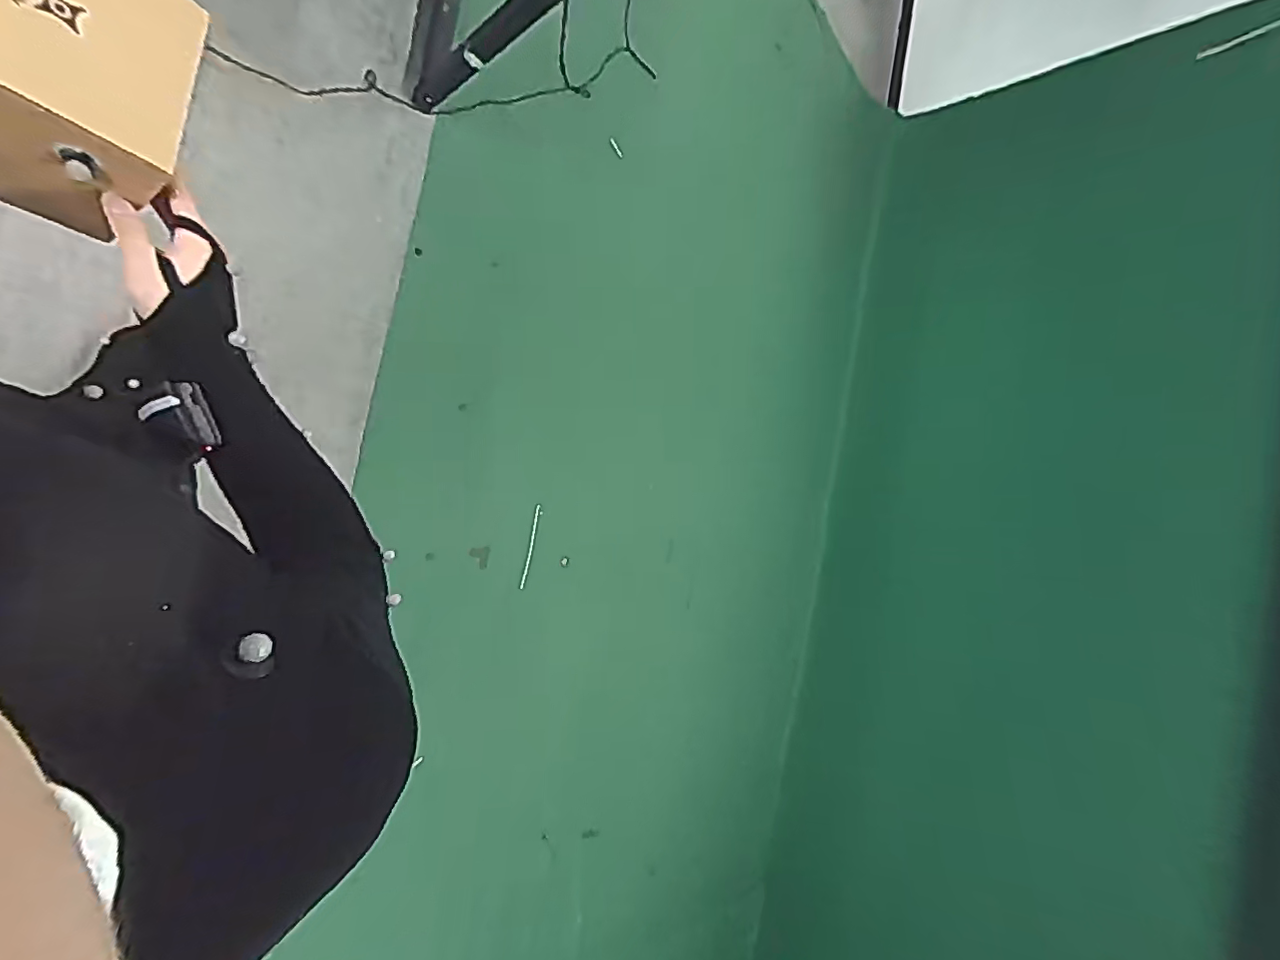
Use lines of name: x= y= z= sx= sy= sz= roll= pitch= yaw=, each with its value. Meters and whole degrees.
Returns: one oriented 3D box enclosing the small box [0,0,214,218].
small box: x=-0.484 y=-0.336 z=0.422 sx=0.179 sy=0.176 sz=0.168 roll=19 pitch=69 yaw=-54
